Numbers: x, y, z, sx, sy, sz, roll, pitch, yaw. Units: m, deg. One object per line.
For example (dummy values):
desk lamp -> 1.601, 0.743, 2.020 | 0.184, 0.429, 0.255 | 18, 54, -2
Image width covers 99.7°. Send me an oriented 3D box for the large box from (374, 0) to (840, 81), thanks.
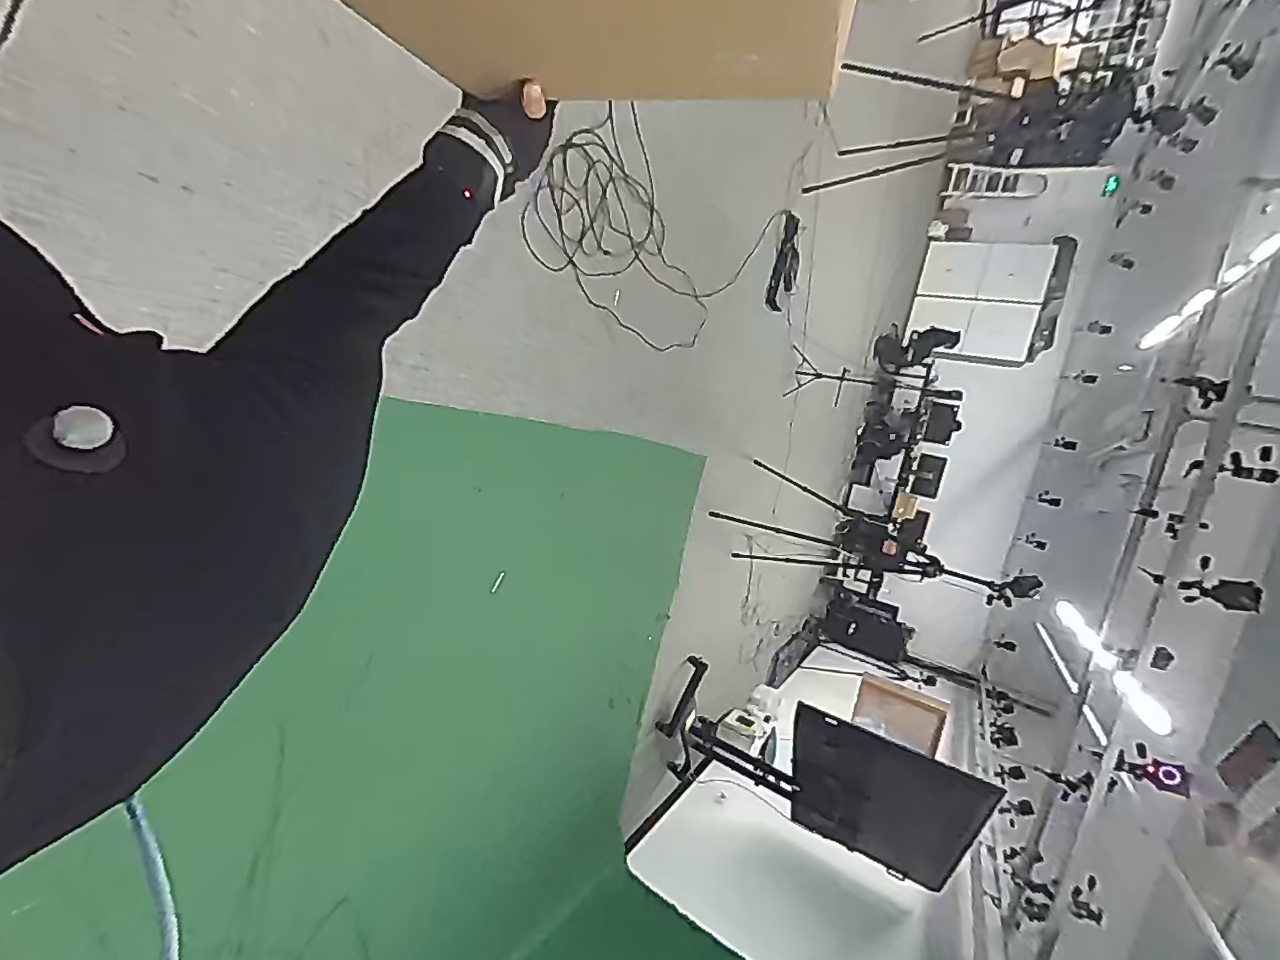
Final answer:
large box -> -0.043, -0.424, 0.226 | 0.408, 0.320, 0.320 | -46, 144, -68
